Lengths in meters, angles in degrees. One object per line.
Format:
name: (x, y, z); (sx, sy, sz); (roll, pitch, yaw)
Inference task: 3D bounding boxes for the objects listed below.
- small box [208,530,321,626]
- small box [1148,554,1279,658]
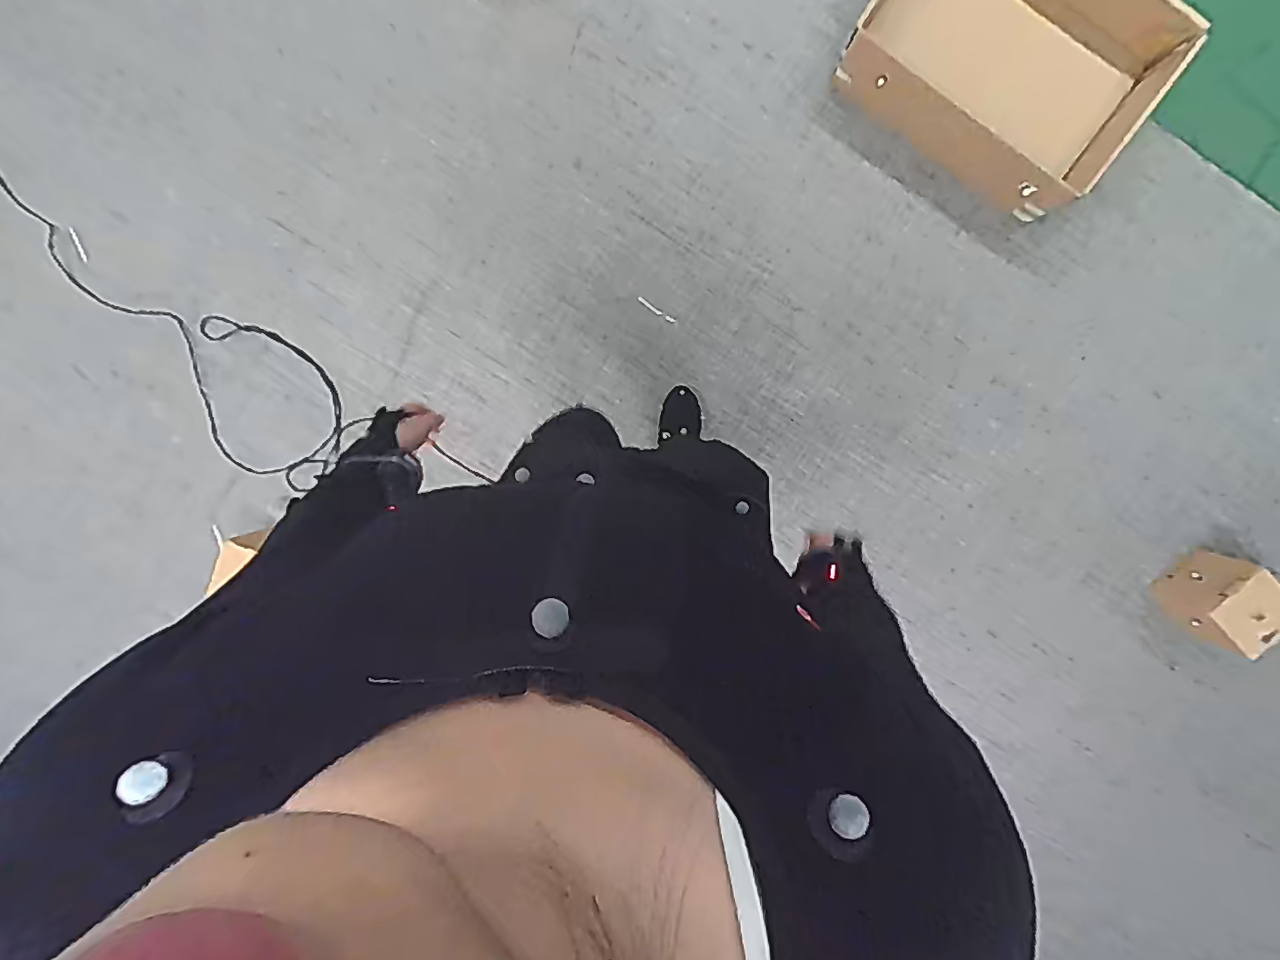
small box: (-1.002, 0.258, 1.459); (0.168, 0.176, 0.179); (23, 98, -1)
small box: (1.474, 0.308, 1.376); (0.179, 0.176, 0.168); (44, 98, -4)
